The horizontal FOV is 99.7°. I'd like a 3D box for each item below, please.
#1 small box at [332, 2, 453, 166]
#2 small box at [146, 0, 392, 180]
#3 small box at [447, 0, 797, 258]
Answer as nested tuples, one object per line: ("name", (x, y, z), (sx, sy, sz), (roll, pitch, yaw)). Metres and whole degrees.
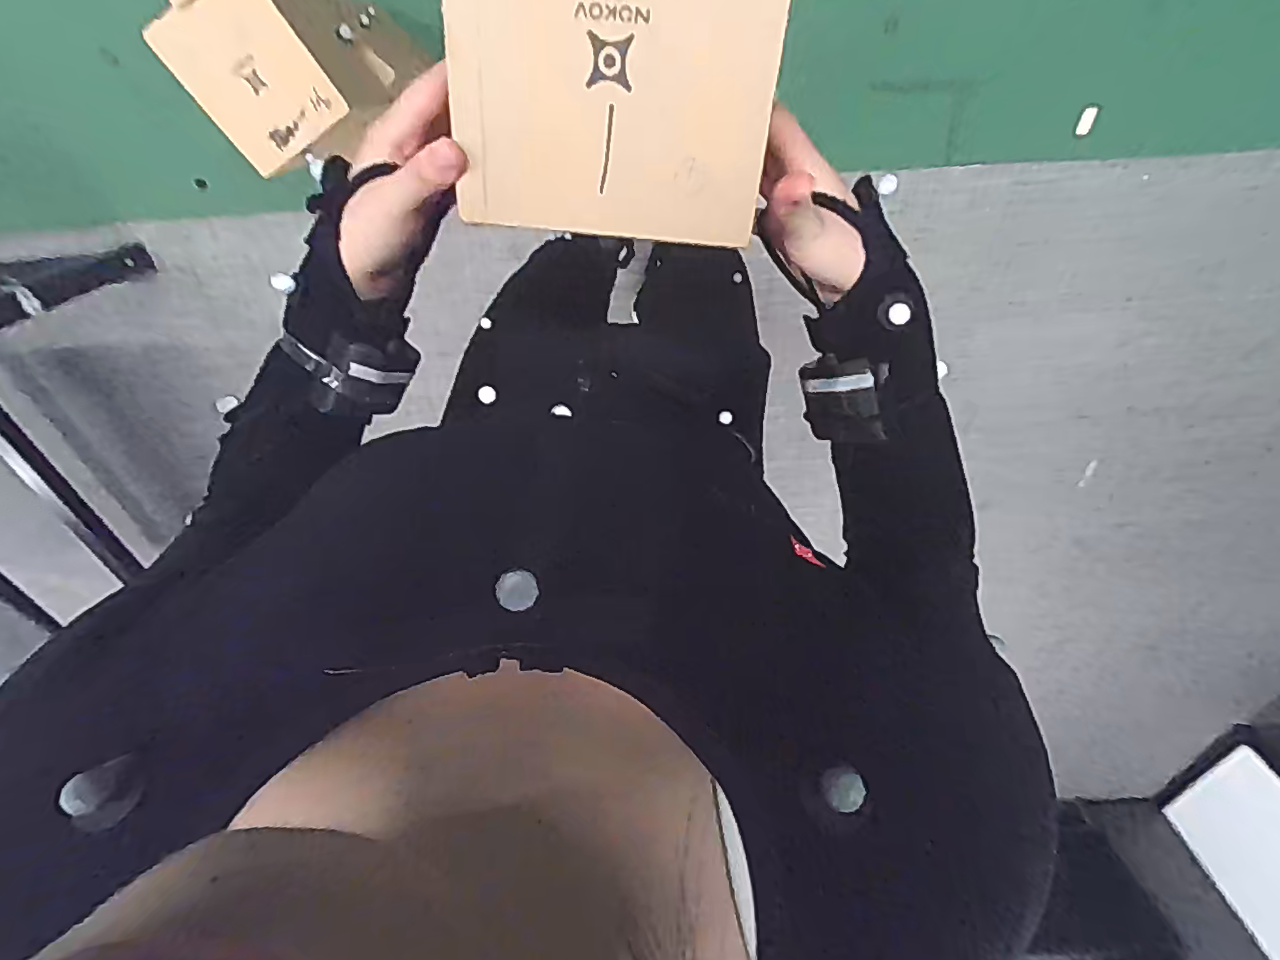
("small box", (-0.475, -0.728, 1.000), (0.179, 0.176, 0.168), (36, 119, -25))
("small box", (-0.478, -0.542, 0.727), (0.168, 0.176, 0.179), (-23, 124, 17))
("small box", (-0.010, -0.246, 0.331), (0.168, 0.176, 0.179), (4, 120, -1))
